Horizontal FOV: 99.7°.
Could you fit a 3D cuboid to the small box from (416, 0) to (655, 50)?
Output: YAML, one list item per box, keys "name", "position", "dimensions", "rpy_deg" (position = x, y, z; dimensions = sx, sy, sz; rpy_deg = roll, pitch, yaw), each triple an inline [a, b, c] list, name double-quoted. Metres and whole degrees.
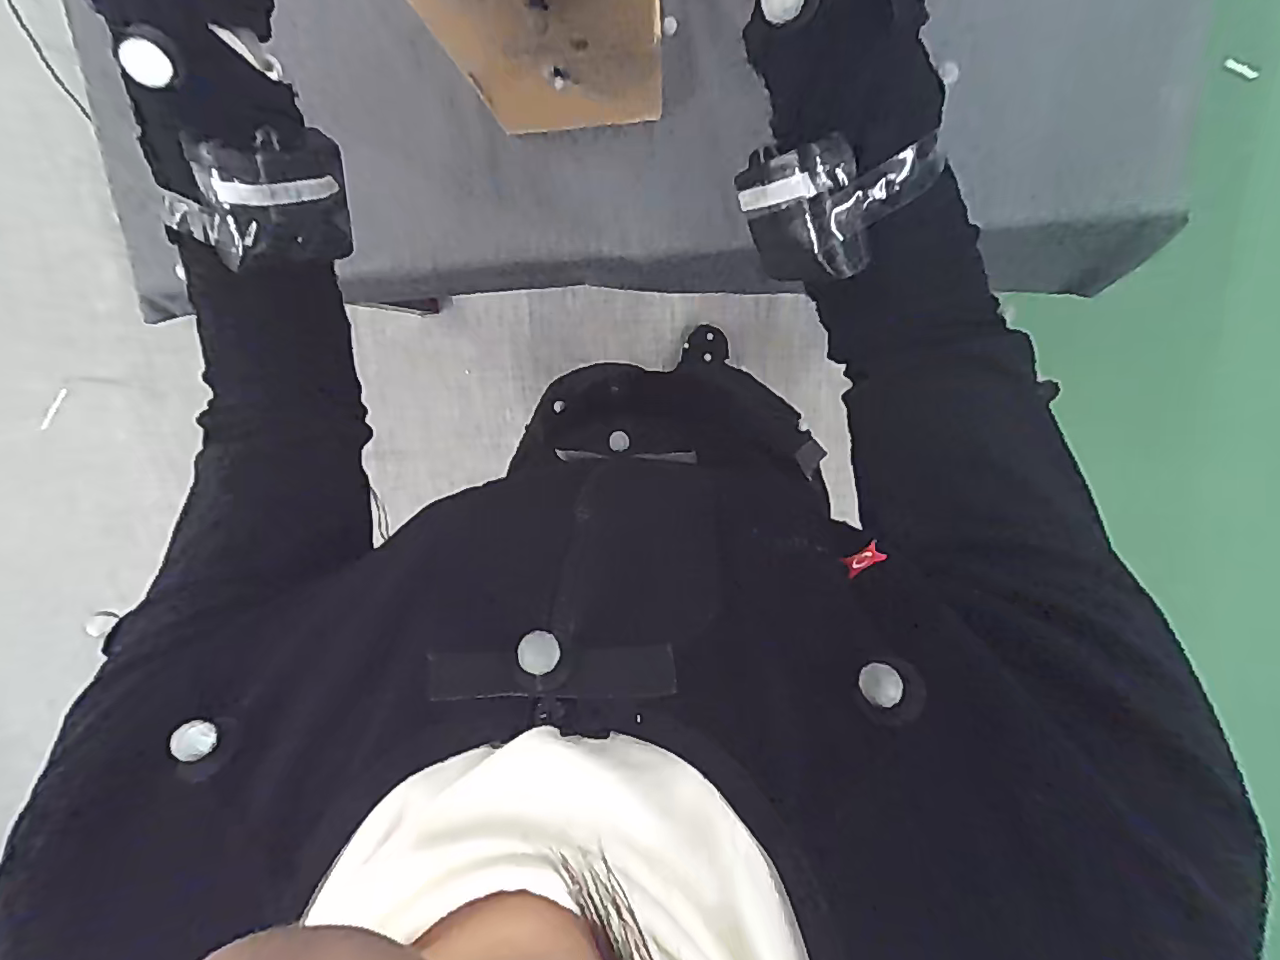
- name: "small box"
  position: [-0.080, -0.408, 0.339]
  dimensions: [0.168, 0.176, 0.179]
  rpy_deg: [-4, 105, 4]

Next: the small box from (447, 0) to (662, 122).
- name: "small box"
  position: [-0.071, -0.454, 0.496]
  dimensions: [0.179, 0.176, 0.168]
  rpy_deg: [-3, 105, 3]
